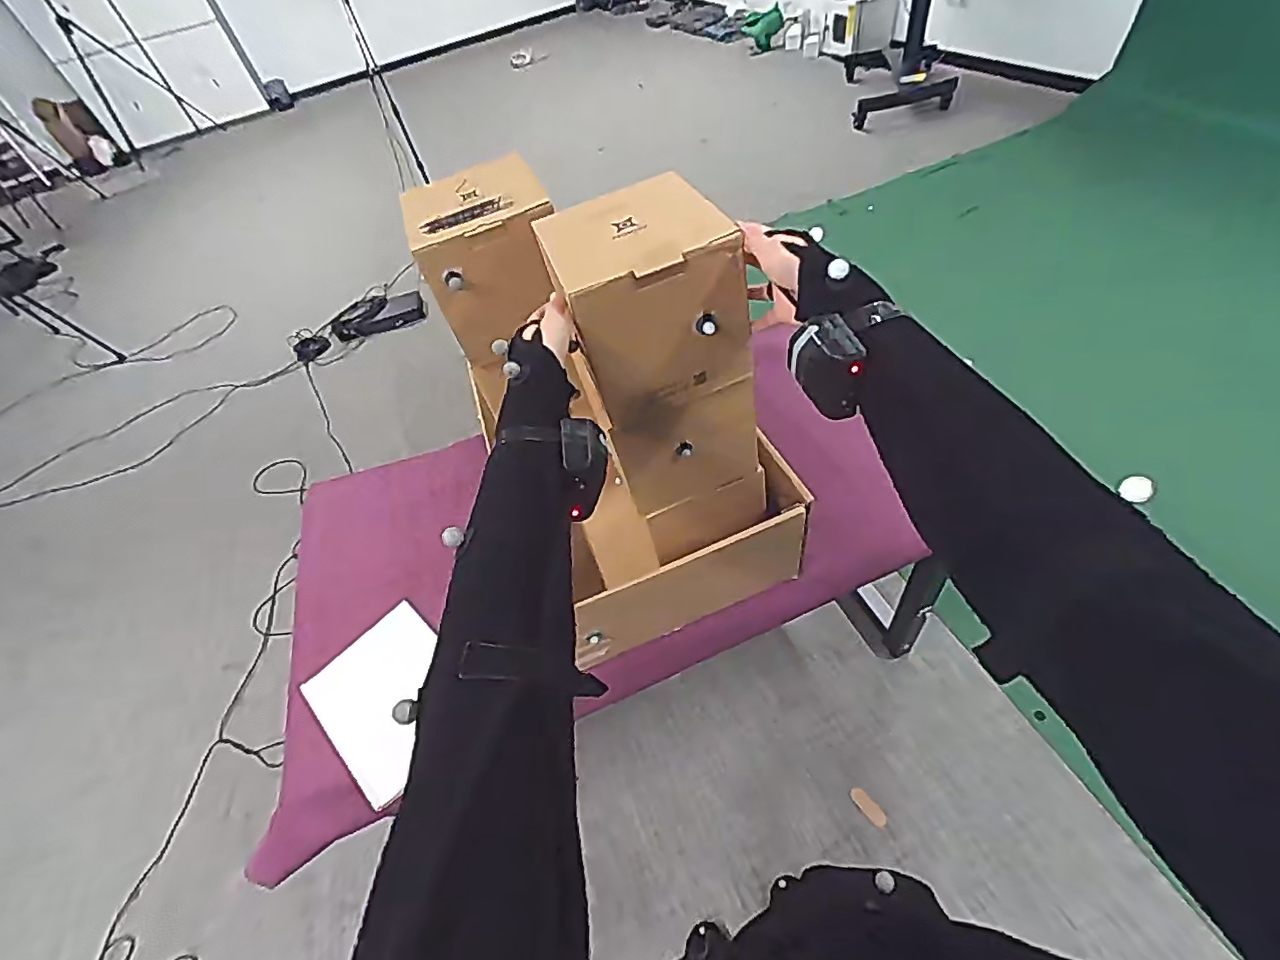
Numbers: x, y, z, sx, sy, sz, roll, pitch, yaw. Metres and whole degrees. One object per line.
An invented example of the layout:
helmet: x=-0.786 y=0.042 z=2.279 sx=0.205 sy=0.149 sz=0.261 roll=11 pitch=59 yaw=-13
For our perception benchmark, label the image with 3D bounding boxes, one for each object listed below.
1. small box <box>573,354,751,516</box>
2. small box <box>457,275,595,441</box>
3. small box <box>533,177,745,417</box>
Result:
small box: x=0.034 y=-0.084 z=0.704 sx=0.179 sy=0.176 sz=0.168 roll=-23 pitch=47 yaw=-2
small box: x=-0.166 y=-0.183 z=0.845 sx=0.168 sy=0.176 sz=0.179 roll=-21 pitch=50 yaw=-5
small box: x=0.003 y=-0.189 z=0.582 sx=0.168 sy=0.176 sz=0.179 roll=-21 pitch=47 yaw=-4
